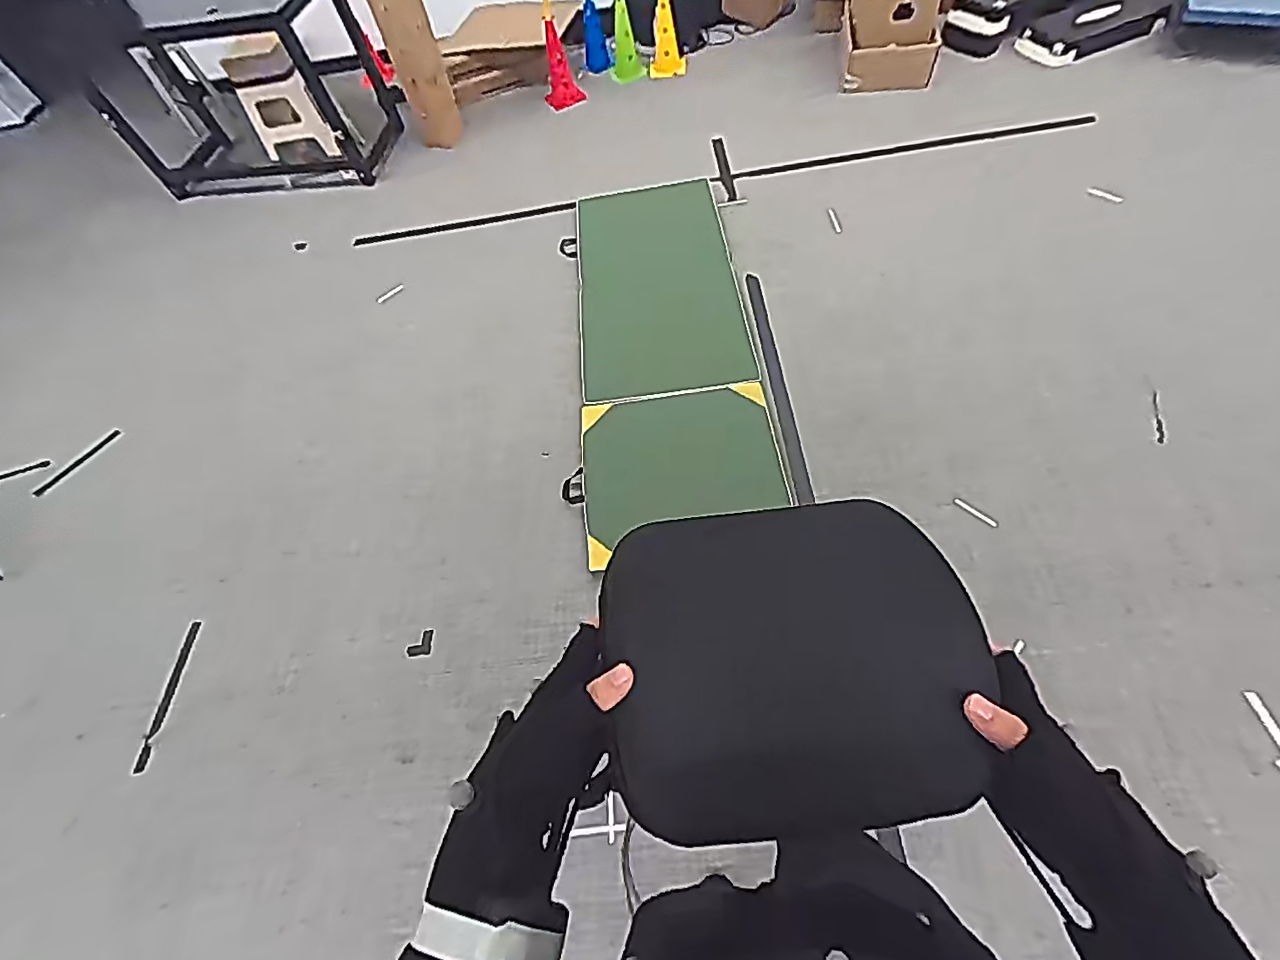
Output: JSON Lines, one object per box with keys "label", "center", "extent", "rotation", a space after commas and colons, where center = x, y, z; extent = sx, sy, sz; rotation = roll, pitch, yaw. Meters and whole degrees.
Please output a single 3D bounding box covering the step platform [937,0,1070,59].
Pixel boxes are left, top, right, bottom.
{"label": "step platform", "center": [1.874, -2.403, 2.746], "extent": [0.684, 0.204, 0.286], "rotation": [-33, 61, -11]}
